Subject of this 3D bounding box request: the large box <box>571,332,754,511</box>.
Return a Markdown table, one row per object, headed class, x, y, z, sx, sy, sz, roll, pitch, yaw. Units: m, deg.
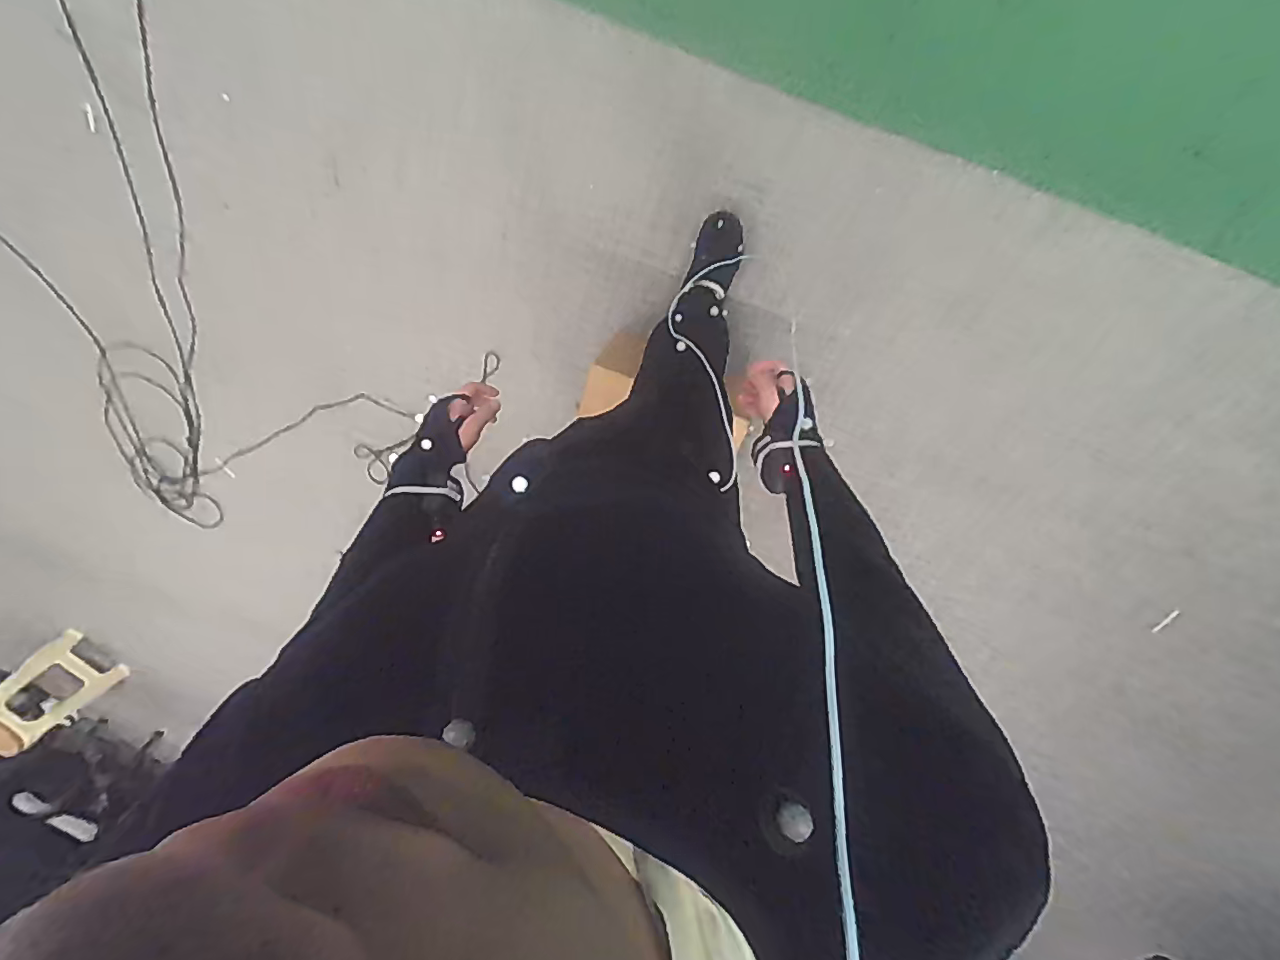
| class | x | y | z | sx | sy | sz | roll | pitch | yaw |
| --- | --- | --- | --- | --- | --- | --- | --- | --- | --- |
| large box | 0.064 | -0.172 | 1.484 | 0.408 | 0.320 | 0.320 | 19 | 121 | -1 |
